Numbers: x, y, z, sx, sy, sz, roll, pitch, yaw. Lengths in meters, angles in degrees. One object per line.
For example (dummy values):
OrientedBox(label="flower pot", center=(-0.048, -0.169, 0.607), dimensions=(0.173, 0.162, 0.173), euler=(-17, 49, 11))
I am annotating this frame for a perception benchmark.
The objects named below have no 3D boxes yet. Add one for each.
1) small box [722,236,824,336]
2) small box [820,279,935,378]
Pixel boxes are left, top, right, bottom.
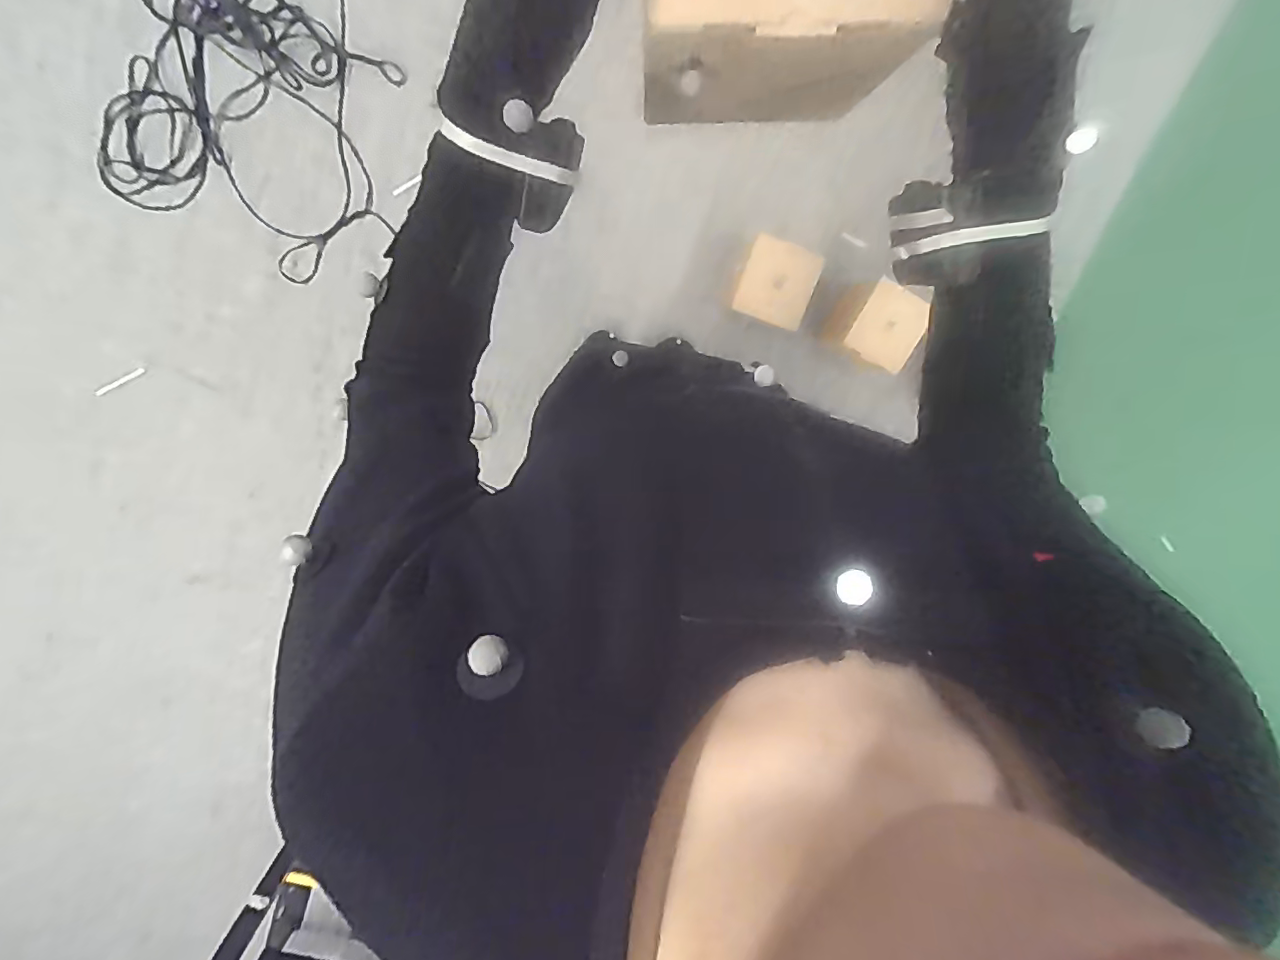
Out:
OrientedBox(label="small box", center=(0.310, -0.461, 1.306), dimensions=(0.168, 0.176, 0.179), euler=(18, 105, -6))
OrientedBox(label="small box", center=(0.579, -0.375, 1.348), dimensions=(0.168, 0.176, 0.179), euler=(26, 102, -10))
